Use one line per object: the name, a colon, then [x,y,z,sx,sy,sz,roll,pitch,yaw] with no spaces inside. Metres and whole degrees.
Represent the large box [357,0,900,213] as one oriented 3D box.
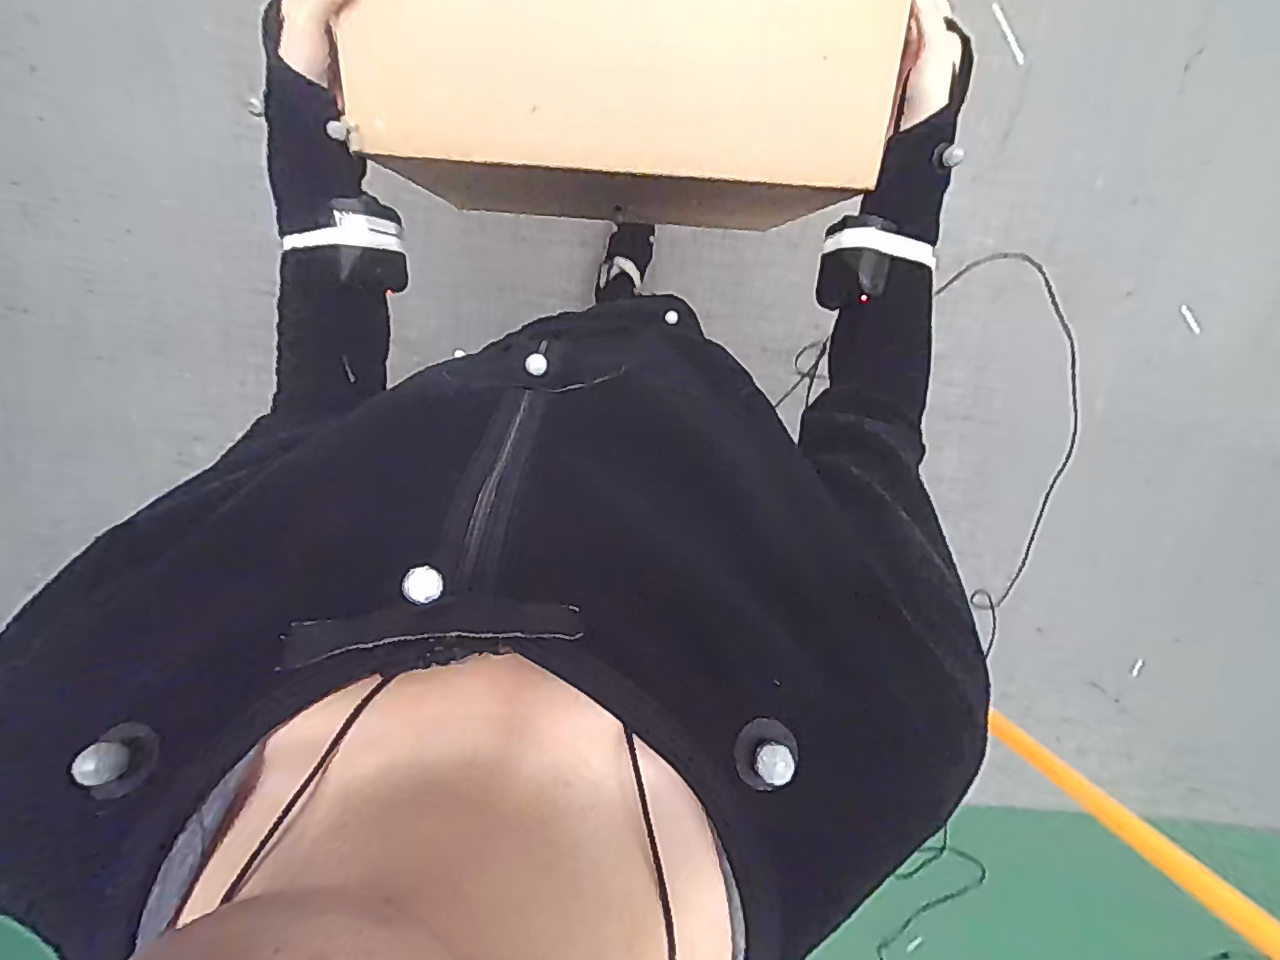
large box: [-0.008,-0.446,0.517,0.408,0.320,0.320,2,109,-4]
